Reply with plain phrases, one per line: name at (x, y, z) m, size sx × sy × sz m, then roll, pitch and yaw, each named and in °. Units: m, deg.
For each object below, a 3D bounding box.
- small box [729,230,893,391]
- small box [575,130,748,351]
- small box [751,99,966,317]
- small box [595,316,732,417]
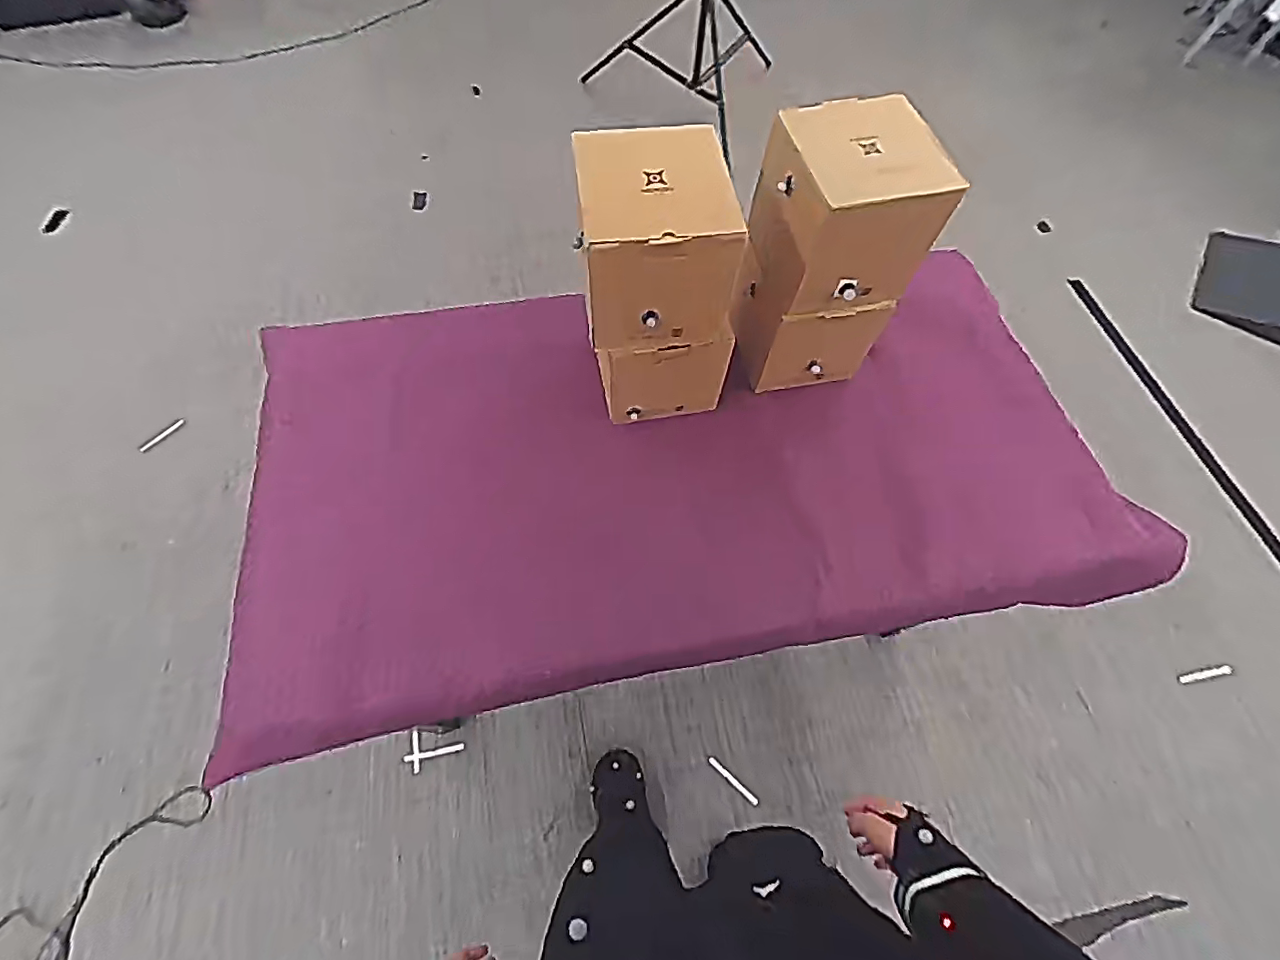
small box at (0.245, -0.262, 0.828) m, size 0.168 × 0.176 × 0.179 m, roll -10°, pitch 66°, yaw -6°
small box at (0.014, -0.280, 0.647) m, size 0.168 × 0.176 × 0.179 m, roll -7°, pitch 66°, yaw -6°
small box at (0.255, -0.338, 0.684) m, size 0.168 × 0.176 × 0.179 m, roll -12°, pitch 66°, yaw -7°
small box at (0.023, -0.206, 0.792) m, size 0.168 × 0.176 × 0.179 m, roll -9°, pitch 65°, yaw -7°
